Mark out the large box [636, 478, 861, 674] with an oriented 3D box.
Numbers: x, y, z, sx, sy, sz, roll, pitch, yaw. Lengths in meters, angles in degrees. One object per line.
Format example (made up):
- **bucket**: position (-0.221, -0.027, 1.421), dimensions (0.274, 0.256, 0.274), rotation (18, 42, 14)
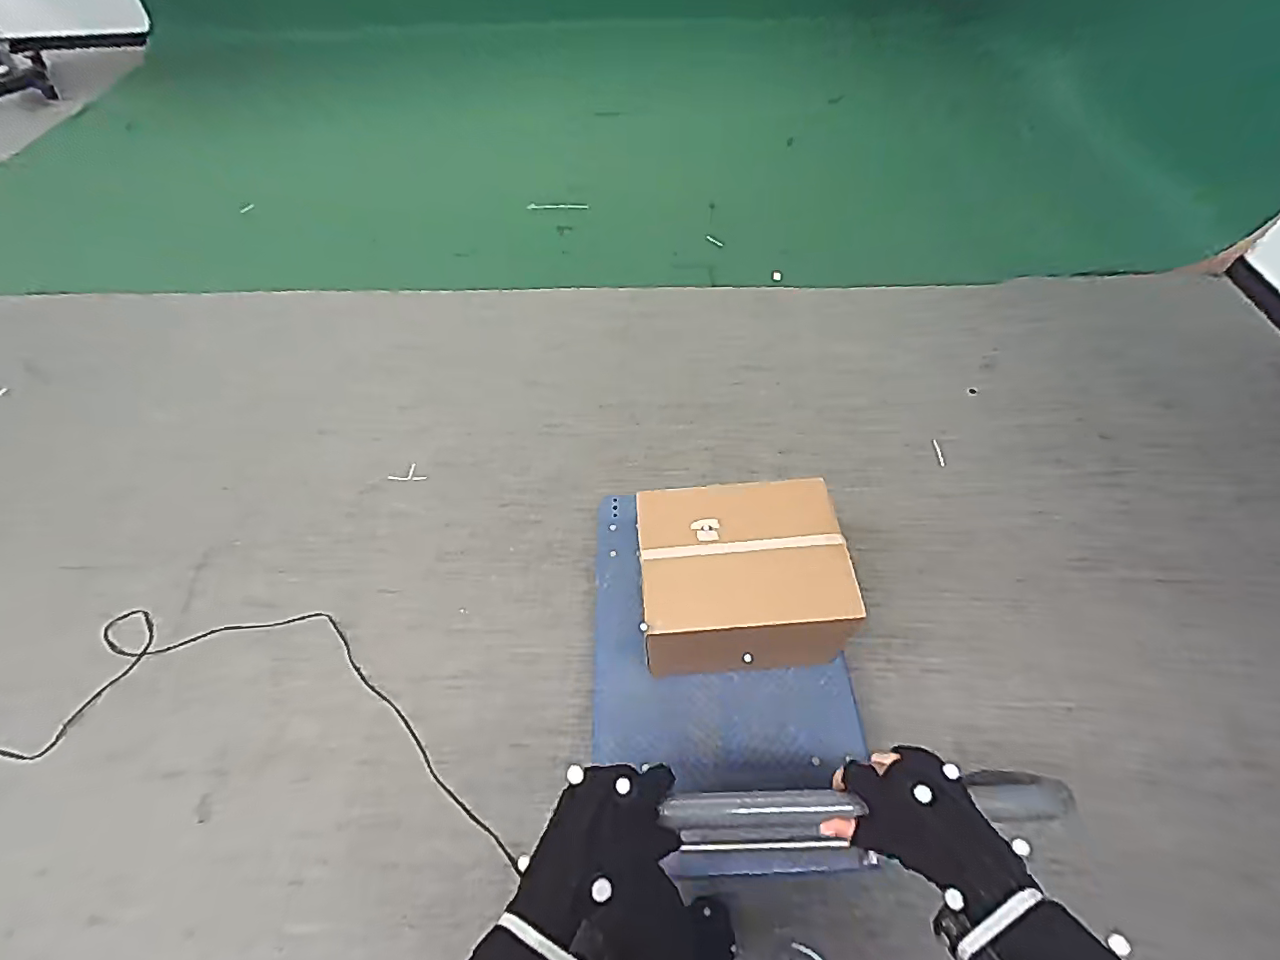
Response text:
- **large box**: position (0.210, 0.223, 1.201), dimensions (0.408, 0.320, 0.320), rotation (-5, 55, 0)
